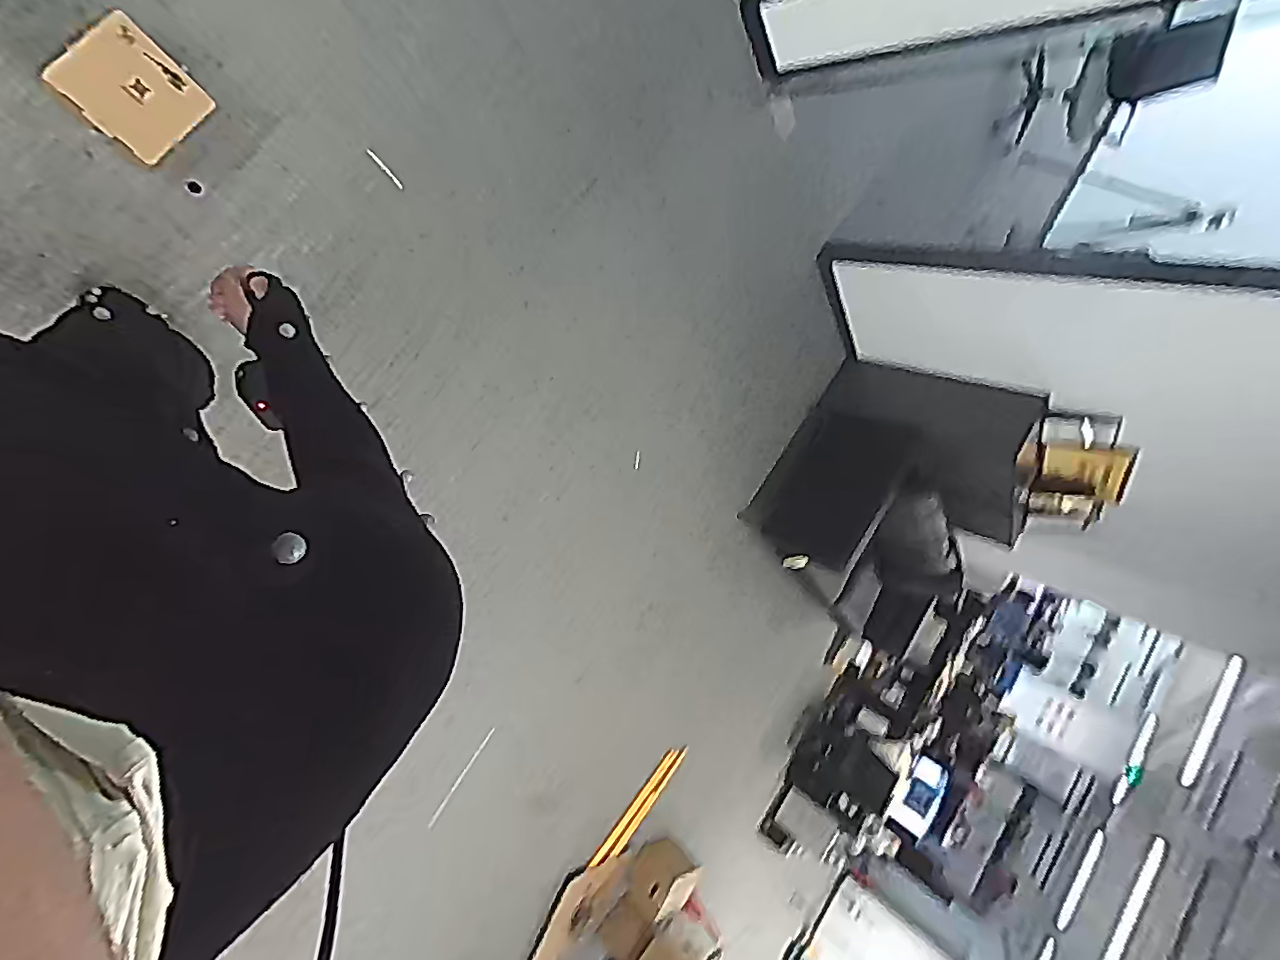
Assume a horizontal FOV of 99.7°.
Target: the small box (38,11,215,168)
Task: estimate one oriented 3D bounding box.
[{"bbox_3d":[-0.942,-0.707,1.002,0.179,0.176,0.168,-54,138,-11],"label":"small box"}]
